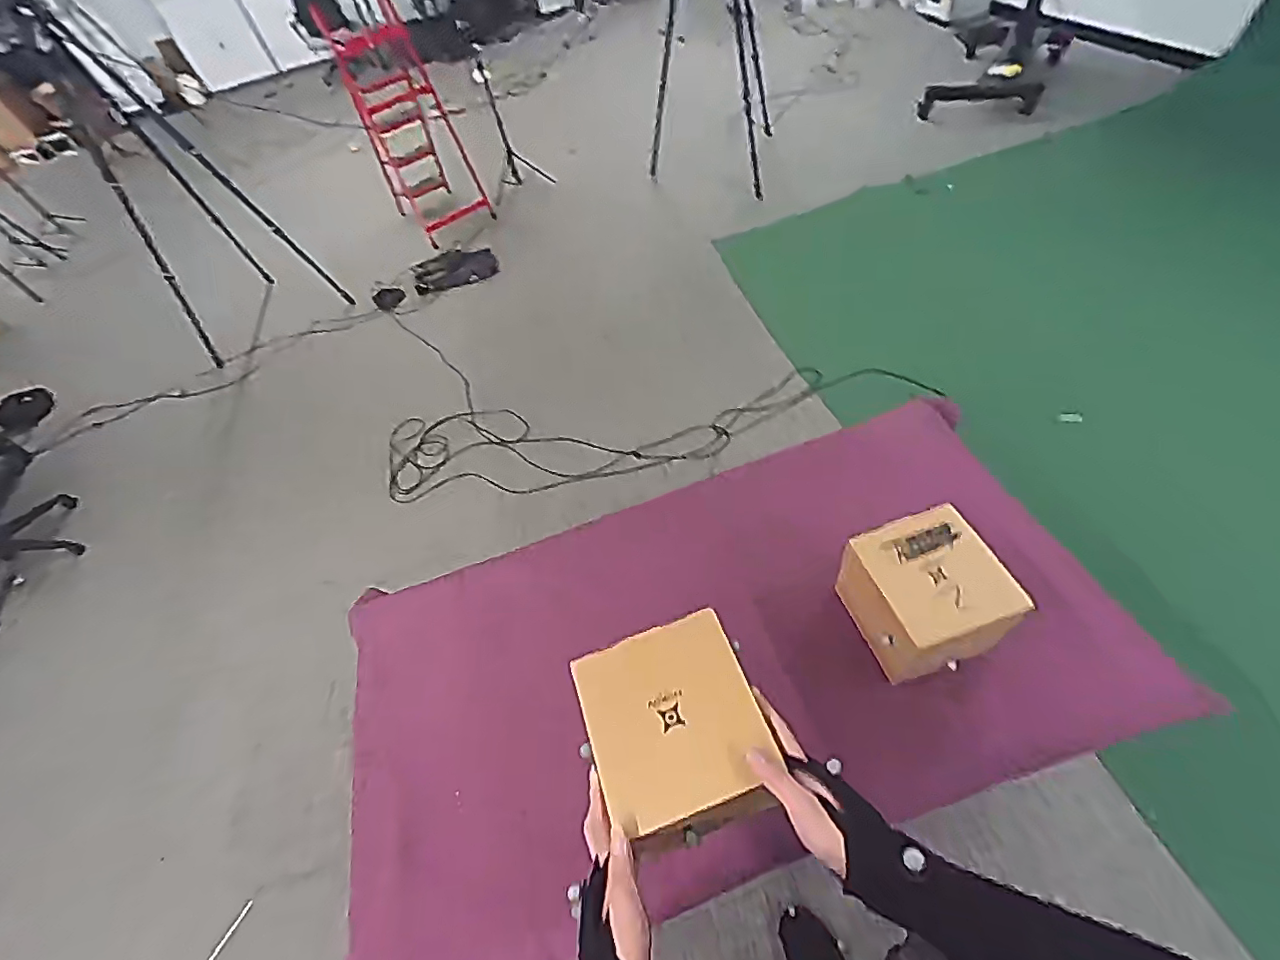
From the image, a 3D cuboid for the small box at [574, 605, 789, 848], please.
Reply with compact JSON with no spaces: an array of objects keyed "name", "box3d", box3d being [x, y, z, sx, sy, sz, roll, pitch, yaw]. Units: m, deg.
[{"name":"small box","box3d":[0.046,0.271,0.583,0.168,0.176,0.179,-20,49,-5]}]
